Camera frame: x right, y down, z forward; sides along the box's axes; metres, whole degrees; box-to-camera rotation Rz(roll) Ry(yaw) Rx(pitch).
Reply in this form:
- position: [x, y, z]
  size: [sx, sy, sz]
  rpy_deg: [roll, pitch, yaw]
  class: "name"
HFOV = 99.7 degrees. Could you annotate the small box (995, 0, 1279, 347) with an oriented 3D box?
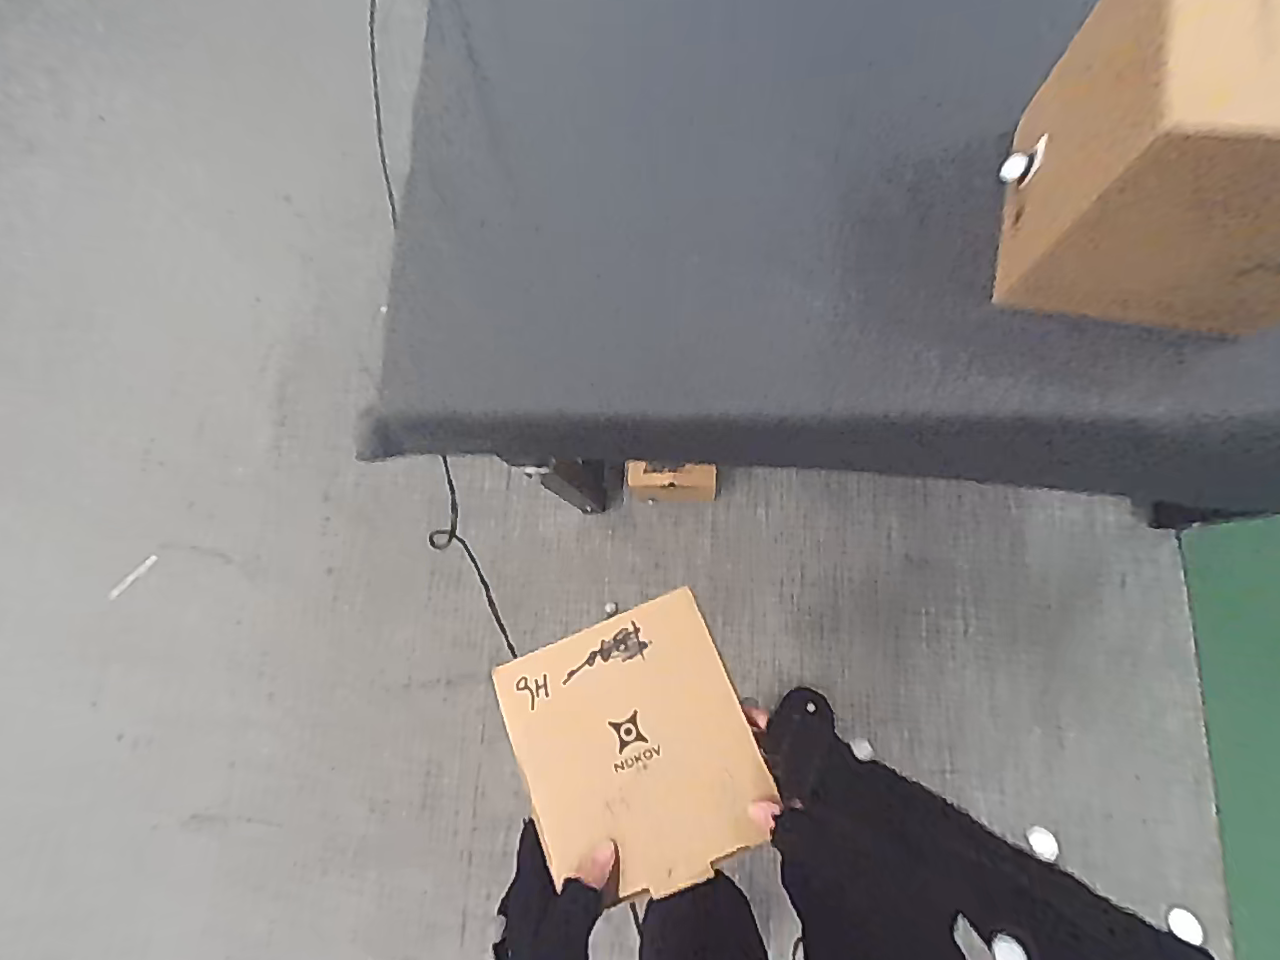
- position: [0.372, -0.203, 0.349]
  size: [0.179, 0.176, 0.168]
  rpy_deg: [12, 79, 9]
  class: "small box"
